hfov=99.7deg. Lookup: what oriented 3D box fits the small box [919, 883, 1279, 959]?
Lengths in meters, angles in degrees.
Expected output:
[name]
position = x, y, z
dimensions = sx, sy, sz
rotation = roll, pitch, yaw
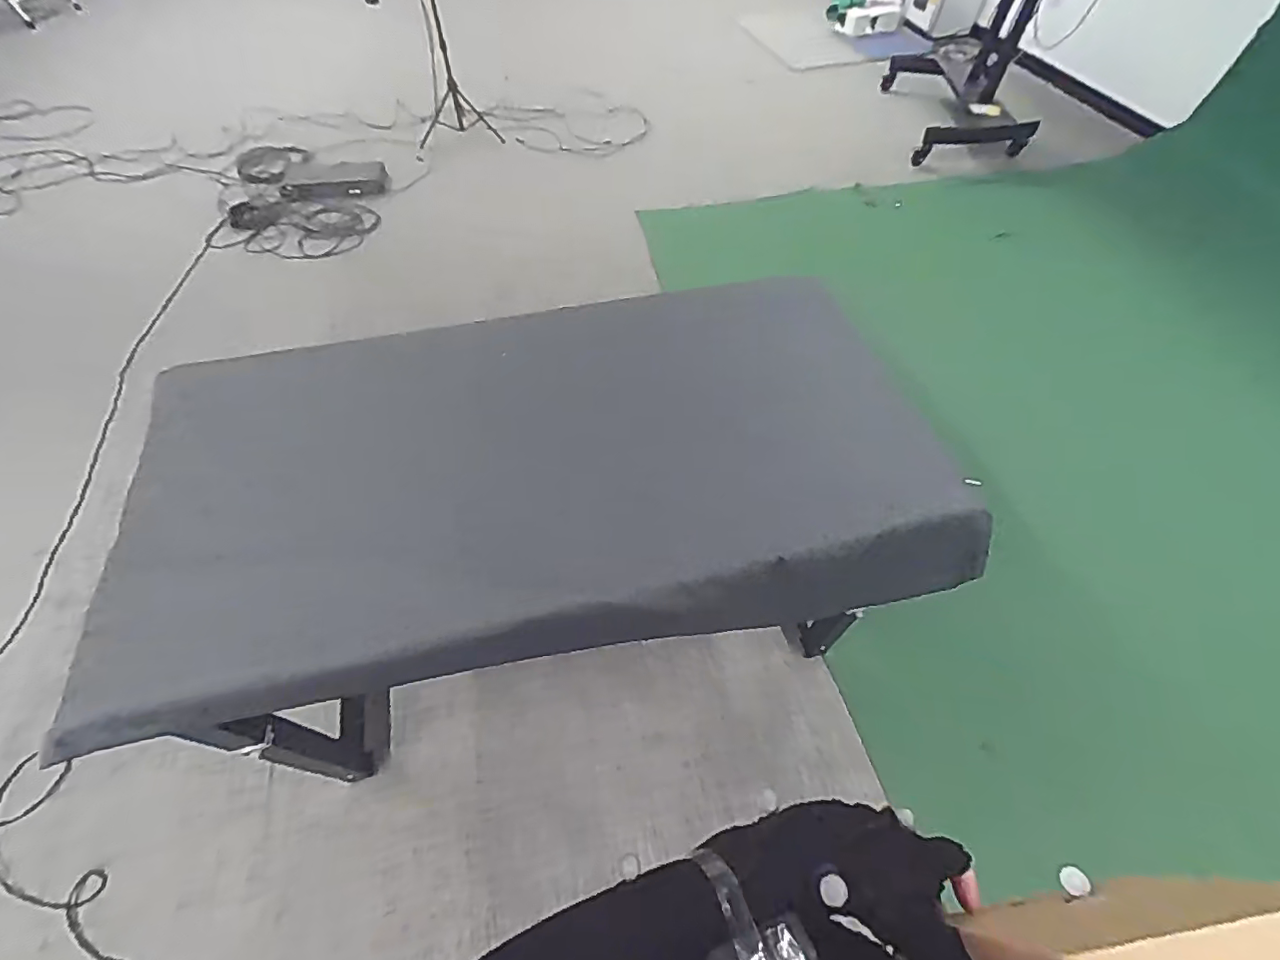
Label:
[small box]
position = 0.282, 0.330, 0.279
dimensions = 0.168, 0.176, 0.179
rotation = -8, 55, -3
